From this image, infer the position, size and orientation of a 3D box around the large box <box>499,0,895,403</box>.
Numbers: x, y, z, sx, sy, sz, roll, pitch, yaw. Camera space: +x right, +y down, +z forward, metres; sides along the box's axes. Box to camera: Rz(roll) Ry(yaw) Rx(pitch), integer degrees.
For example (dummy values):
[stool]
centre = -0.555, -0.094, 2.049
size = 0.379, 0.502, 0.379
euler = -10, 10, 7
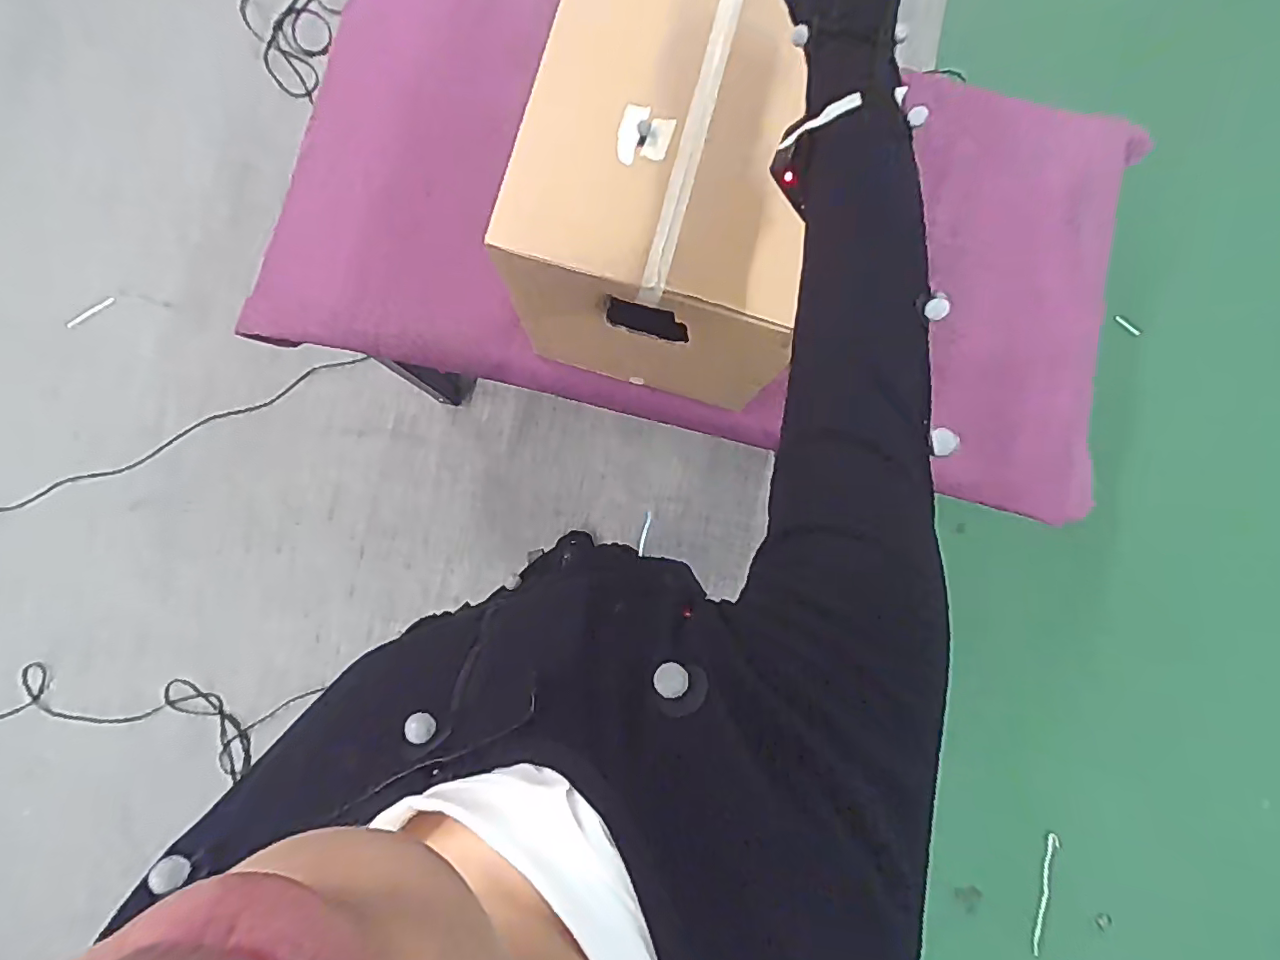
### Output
[large box]
centre = 0.055, -0.353, 0.668
size = 0.320, 0.320, 0.408
euler = 16, 85, -1
